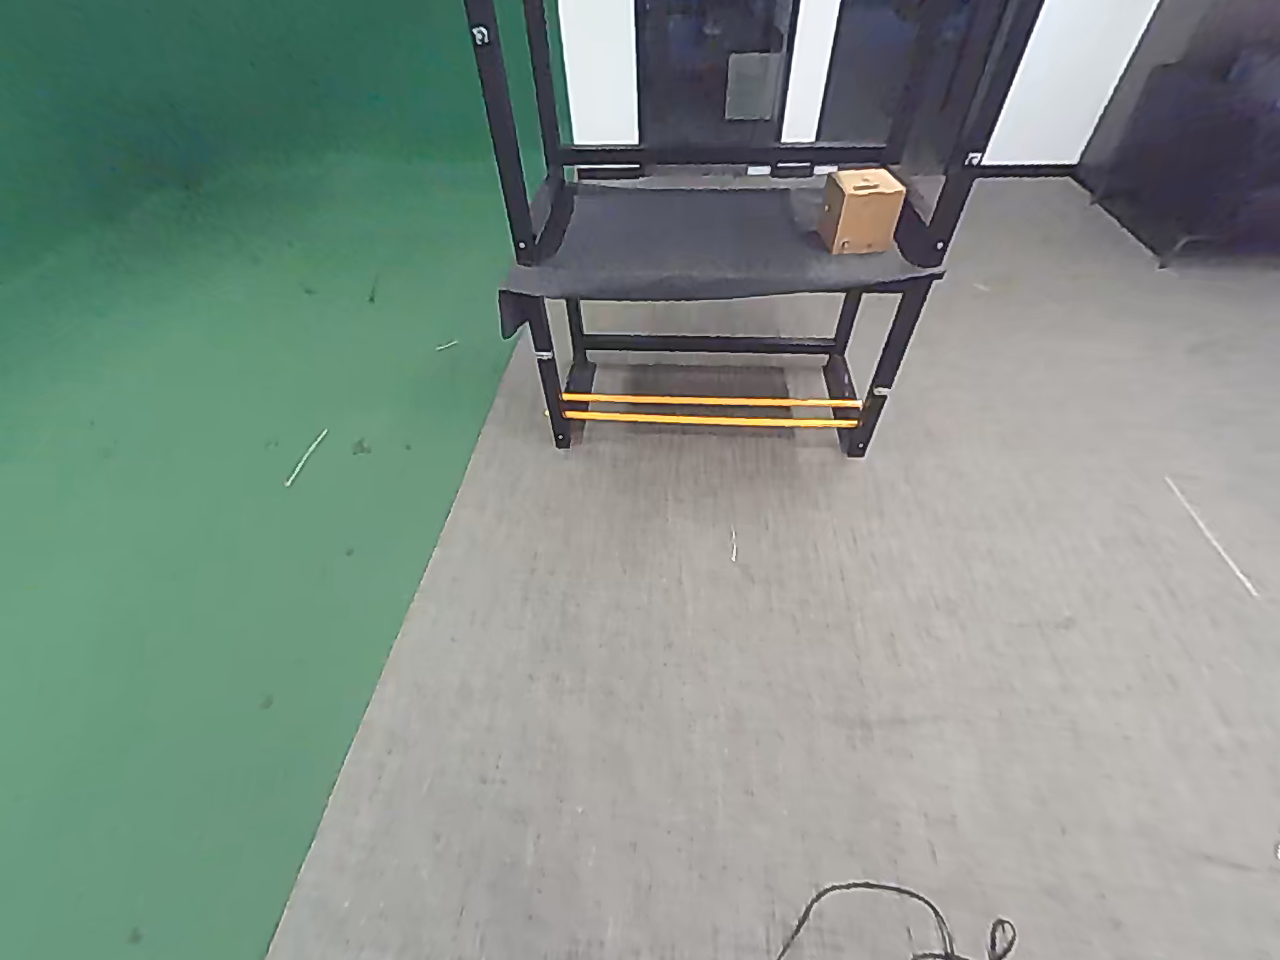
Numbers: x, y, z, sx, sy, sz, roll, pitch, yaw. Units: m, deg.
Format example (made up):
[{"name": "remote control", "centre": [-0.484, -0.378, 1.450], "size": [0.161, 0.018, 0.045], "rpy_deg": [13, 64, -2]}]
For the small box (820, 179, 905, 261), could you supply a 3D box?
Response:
[{"name": "small box", "centre": [0.636, -0.749, 1.569], "size": [0.168, 0.176, 0.179], "rpy_deg": [-3, 46, 1]}]
